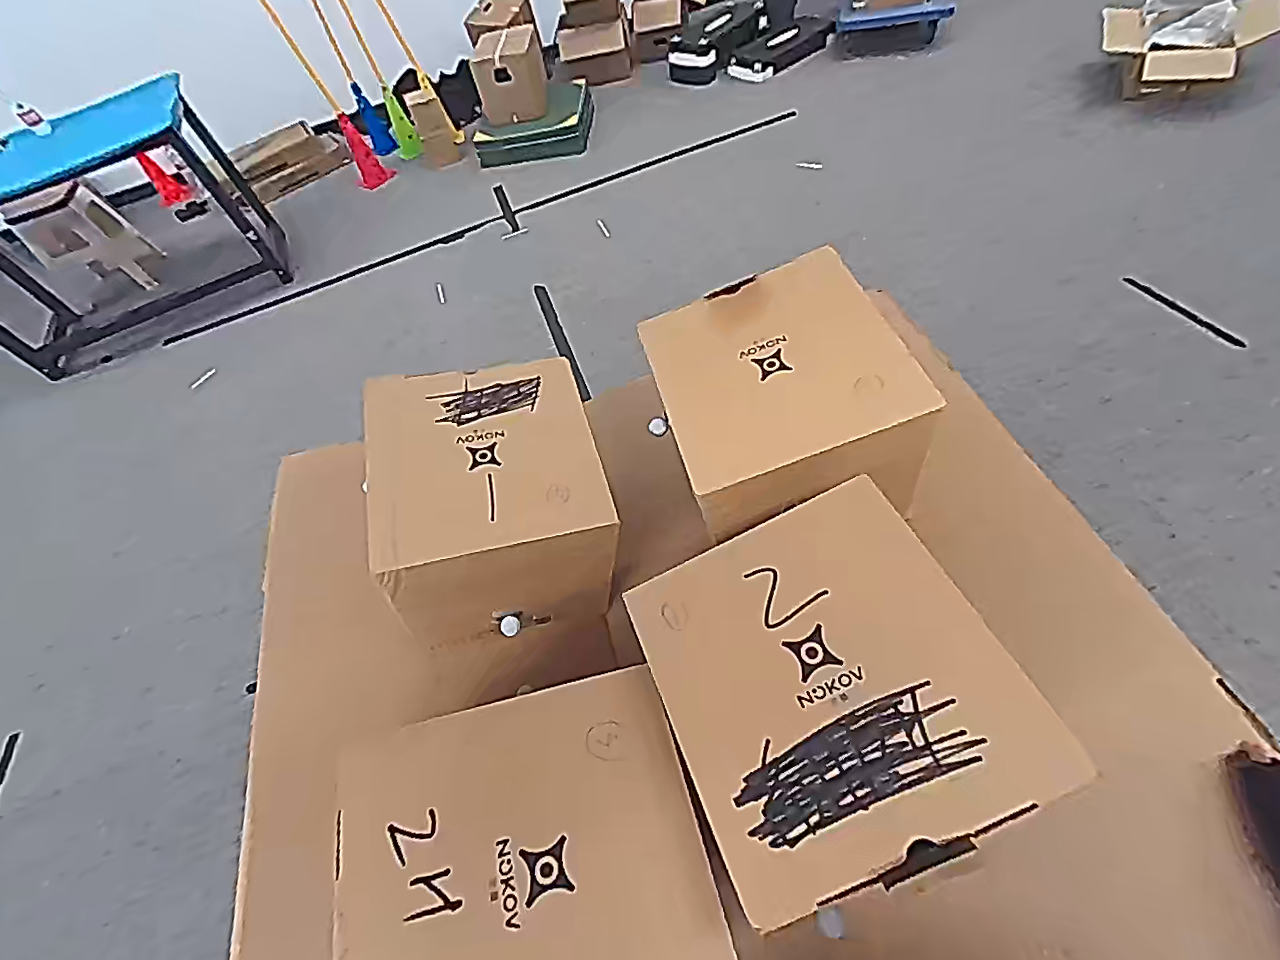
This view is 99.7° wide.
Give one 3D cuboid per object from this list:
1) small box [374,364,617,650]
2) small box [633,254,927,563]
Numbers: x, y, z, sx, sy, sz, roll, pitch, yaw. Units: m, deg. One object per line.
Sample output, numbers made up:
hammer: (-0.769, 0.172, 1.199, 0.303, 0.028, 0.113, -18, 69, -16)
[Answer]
small box: (-0.124, 0.025, 0.479, 0.168, 0.176, 0.179, -11, 57, -14)
small box: (0.112, -0.046, 0.461, 0.168, 0.176, 0.179, -21, 55, 6)
